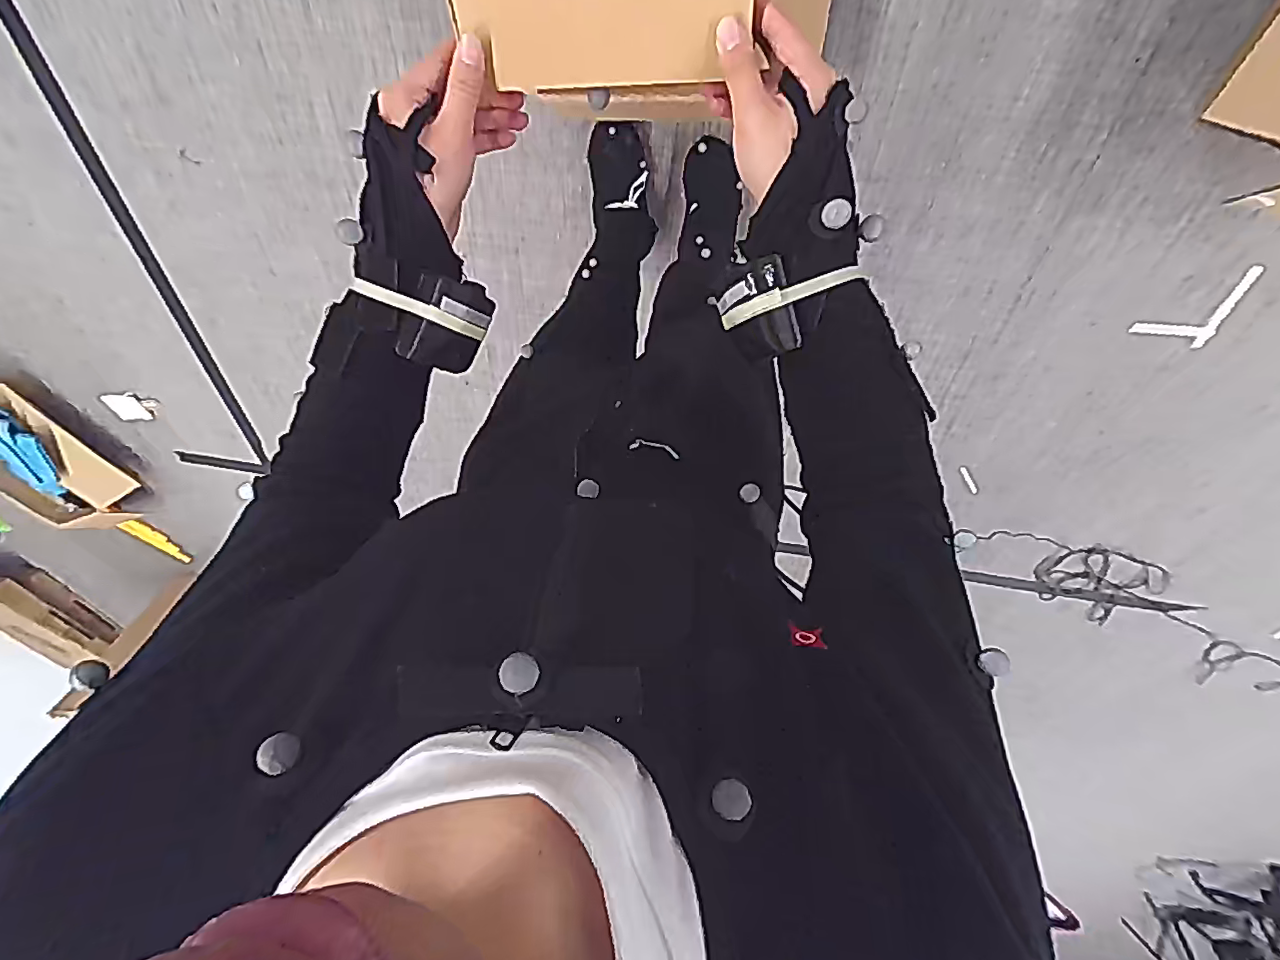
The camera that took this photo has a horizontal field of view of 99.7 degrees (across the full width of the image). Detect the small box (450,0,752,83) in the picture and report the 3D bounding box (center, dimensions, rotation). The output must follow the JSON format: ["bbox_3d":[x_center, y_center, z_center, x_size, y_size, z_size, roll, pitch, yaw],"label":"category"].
[{"bbox_3d":[-0.022,-0.362,0.334,0.179,0.176,0.168,0,134,3],"label":"small box"}]
